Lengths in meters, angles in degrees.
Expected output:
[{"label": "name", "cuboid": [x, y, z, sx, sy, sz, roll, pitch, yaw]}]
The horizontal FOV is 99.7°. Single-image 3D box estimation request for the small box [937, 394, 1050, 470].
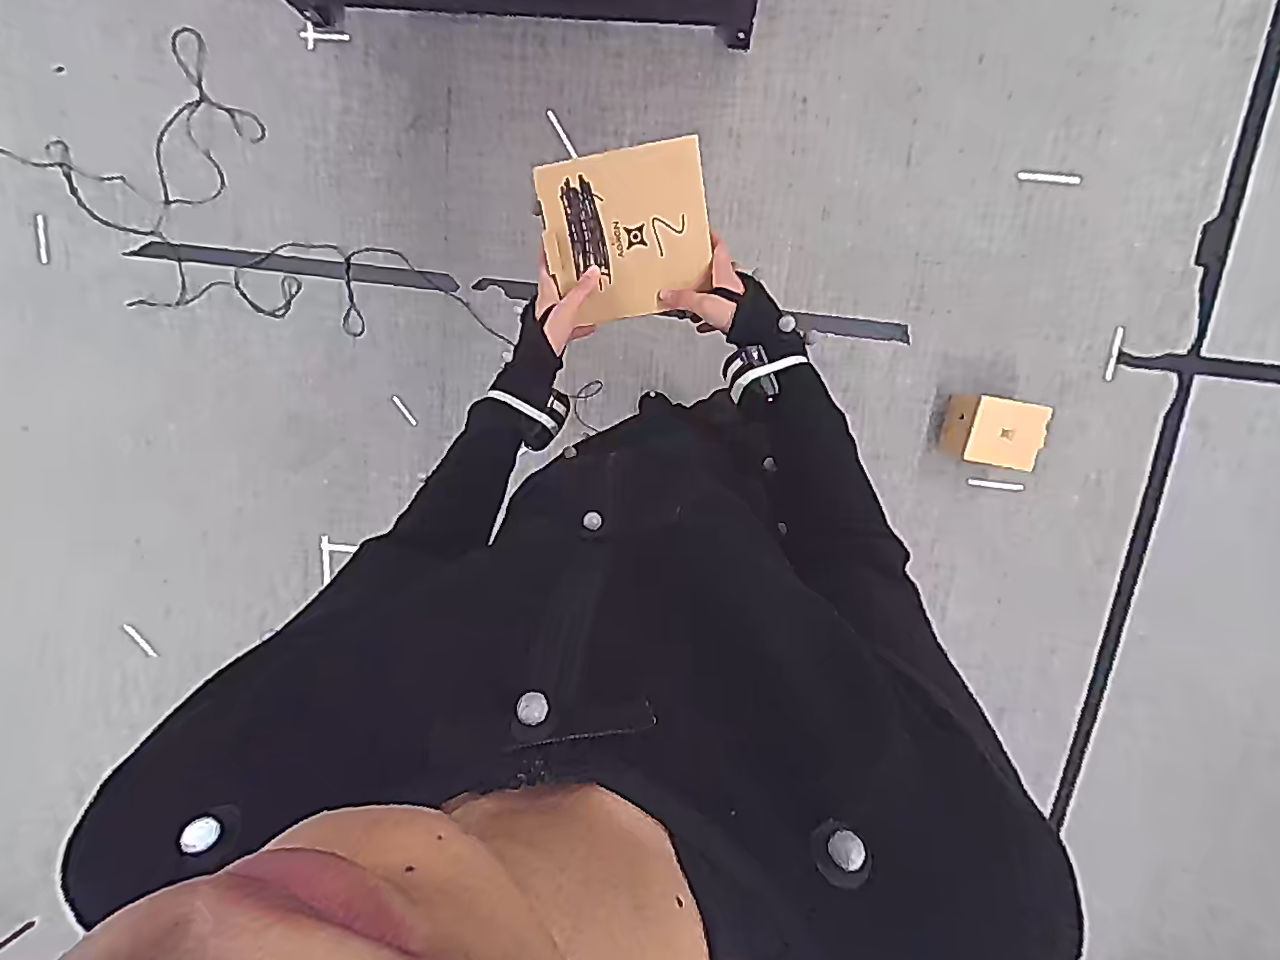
[{"label": "small box", "cuboid": [0.927, -0.133, 1.437, 0.179, 0.176, 0.168, 11, 102, 3]}]
